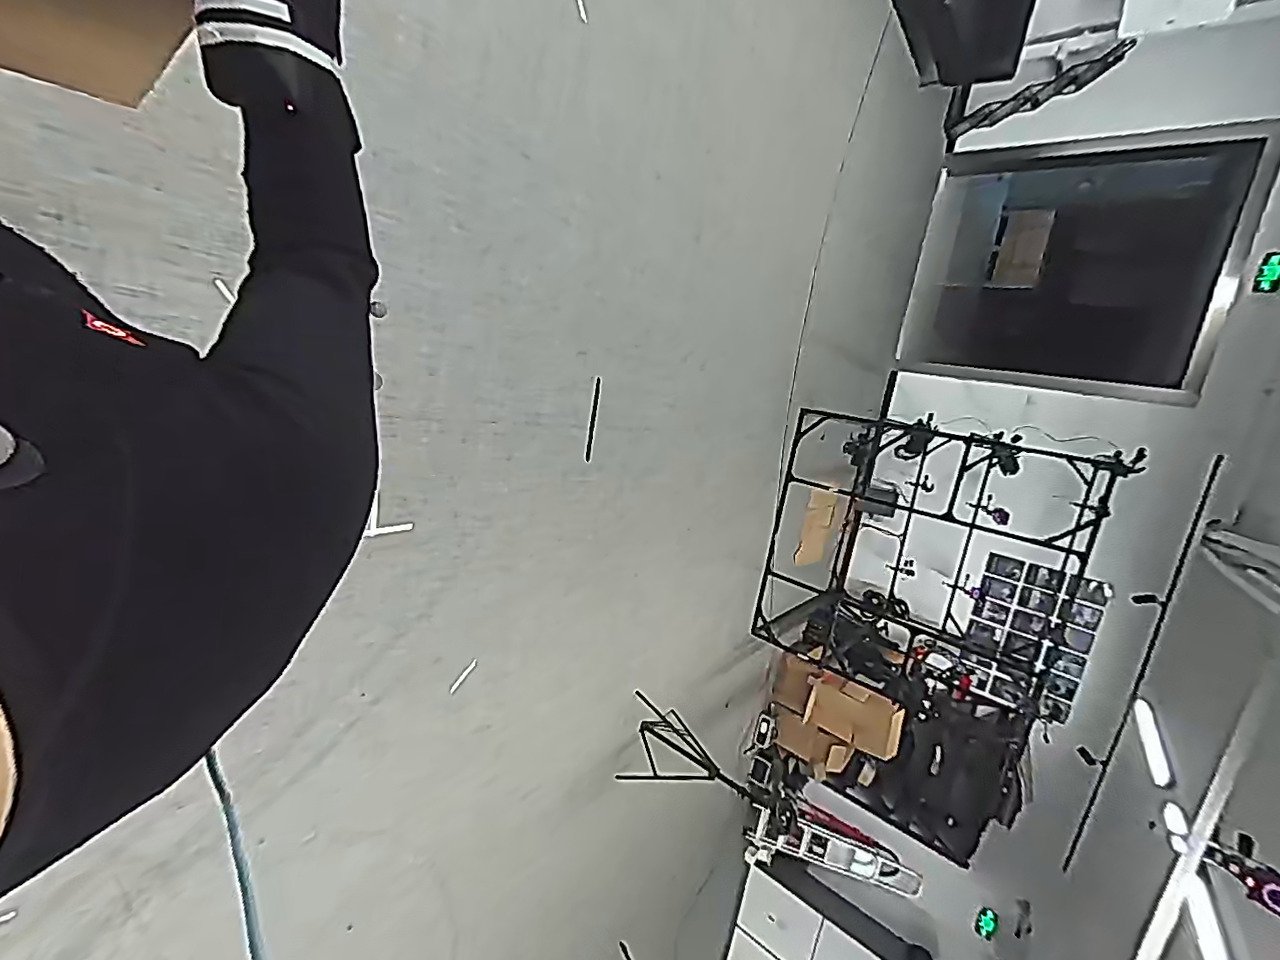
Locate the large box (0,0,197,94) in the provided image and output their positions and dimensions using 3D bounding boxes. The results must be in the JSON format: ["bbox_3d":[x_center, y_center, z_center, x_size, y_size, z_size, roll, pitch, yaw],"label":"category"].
[{"bbox_3d":[-0.485,-0.466,0.244,0.408,0.320,0.320,-11,106,-52],"label":"large box"}]
